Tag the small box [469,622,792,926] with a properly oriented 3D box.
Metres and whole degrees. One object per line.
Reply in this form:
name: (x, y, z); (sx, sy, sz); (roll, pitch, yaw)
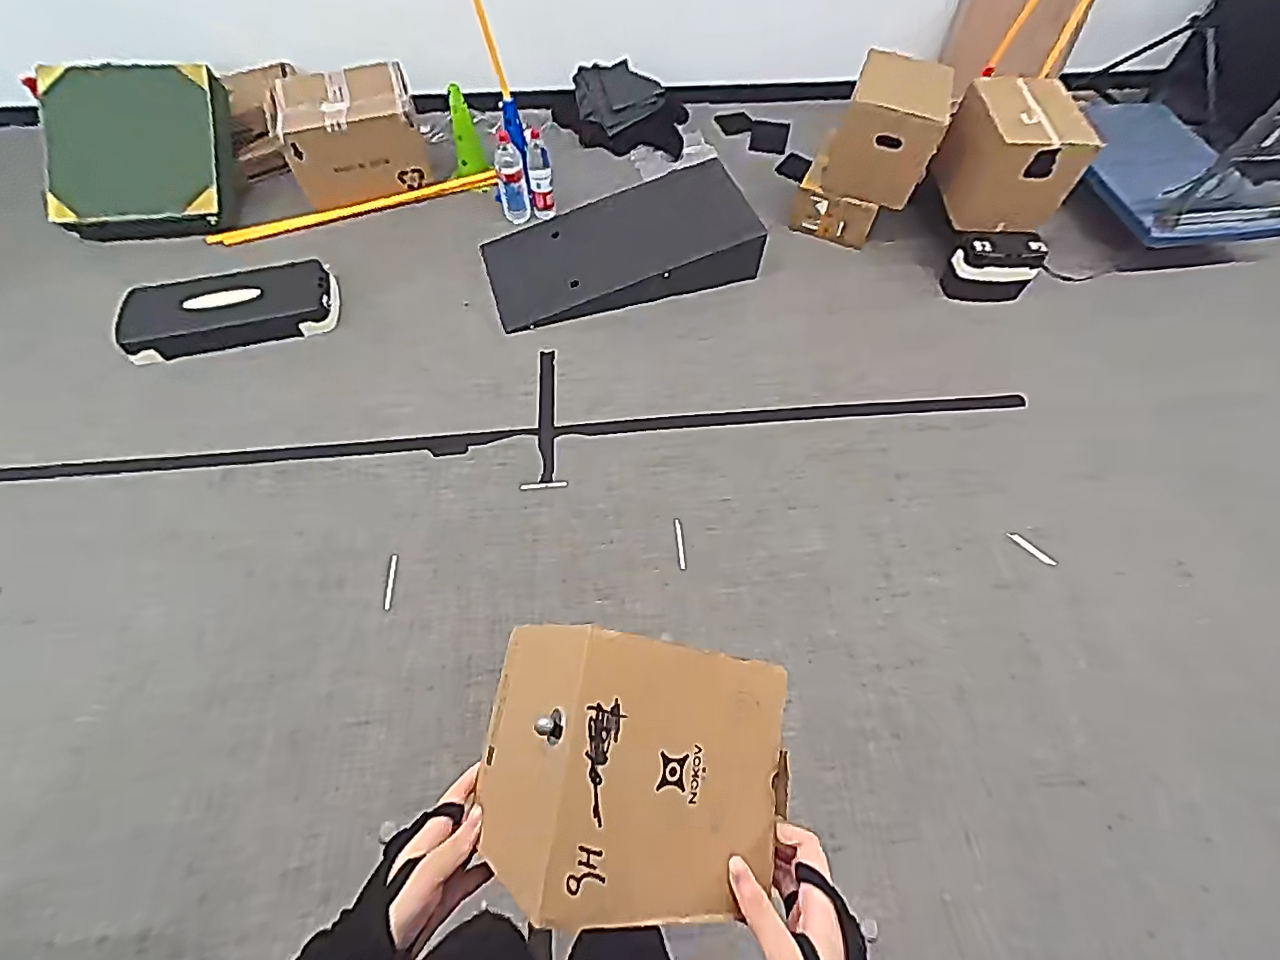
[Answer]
small box: (-0.009, 0.210, 0.420); (0.179, 0.176, 0.168); (21, 66, -25)
